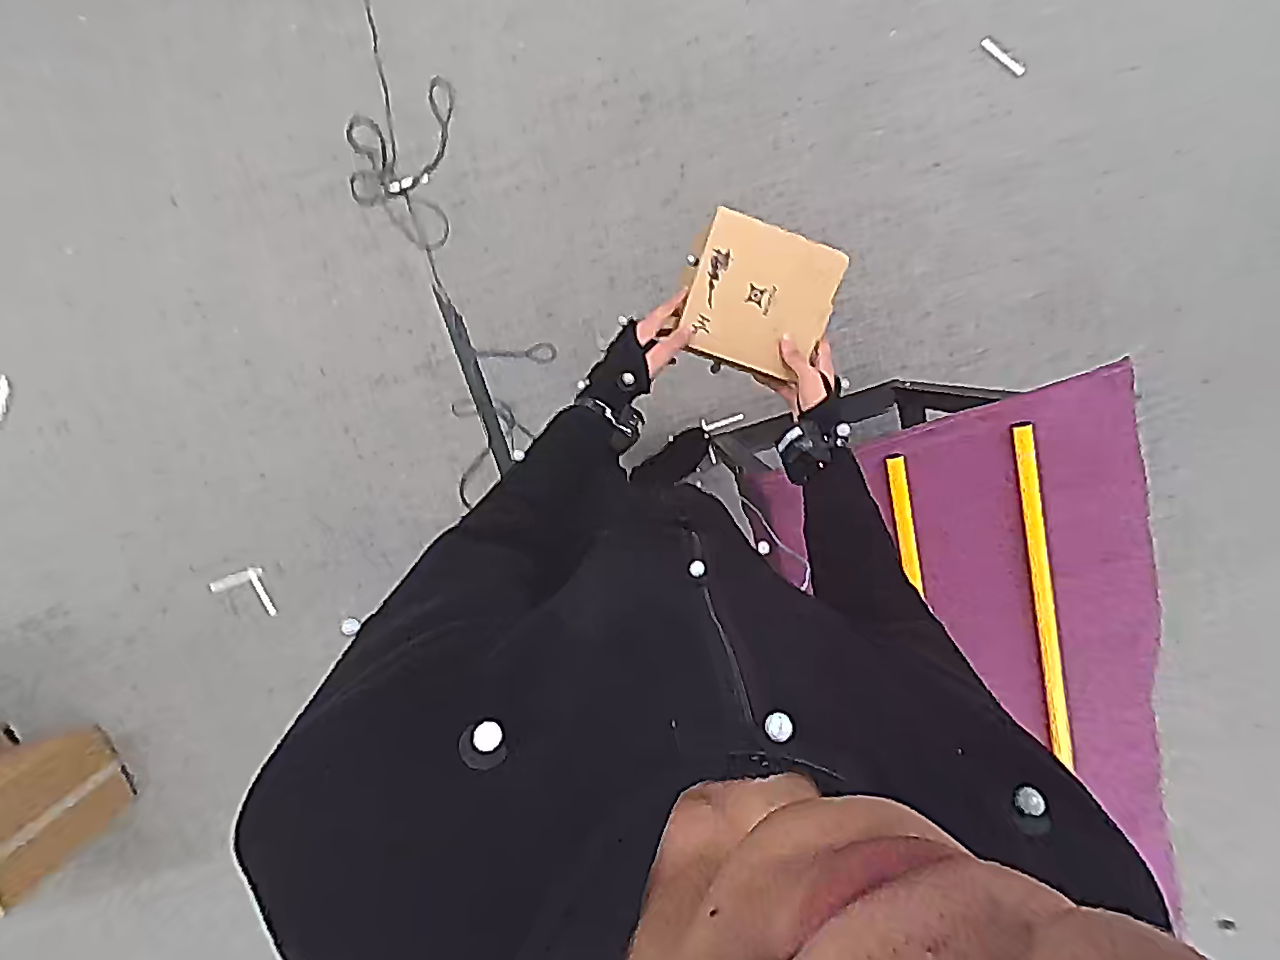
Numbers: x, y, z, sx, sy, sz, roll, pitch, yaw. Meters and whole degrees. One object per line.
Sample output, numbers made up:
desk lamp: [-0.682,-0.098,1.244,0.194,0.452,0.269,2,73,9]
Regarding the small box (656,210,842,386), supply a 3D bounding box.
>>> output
small box: [0.134,-0.238,0.737,0.179,0.176,0.168,16,102,-8]
